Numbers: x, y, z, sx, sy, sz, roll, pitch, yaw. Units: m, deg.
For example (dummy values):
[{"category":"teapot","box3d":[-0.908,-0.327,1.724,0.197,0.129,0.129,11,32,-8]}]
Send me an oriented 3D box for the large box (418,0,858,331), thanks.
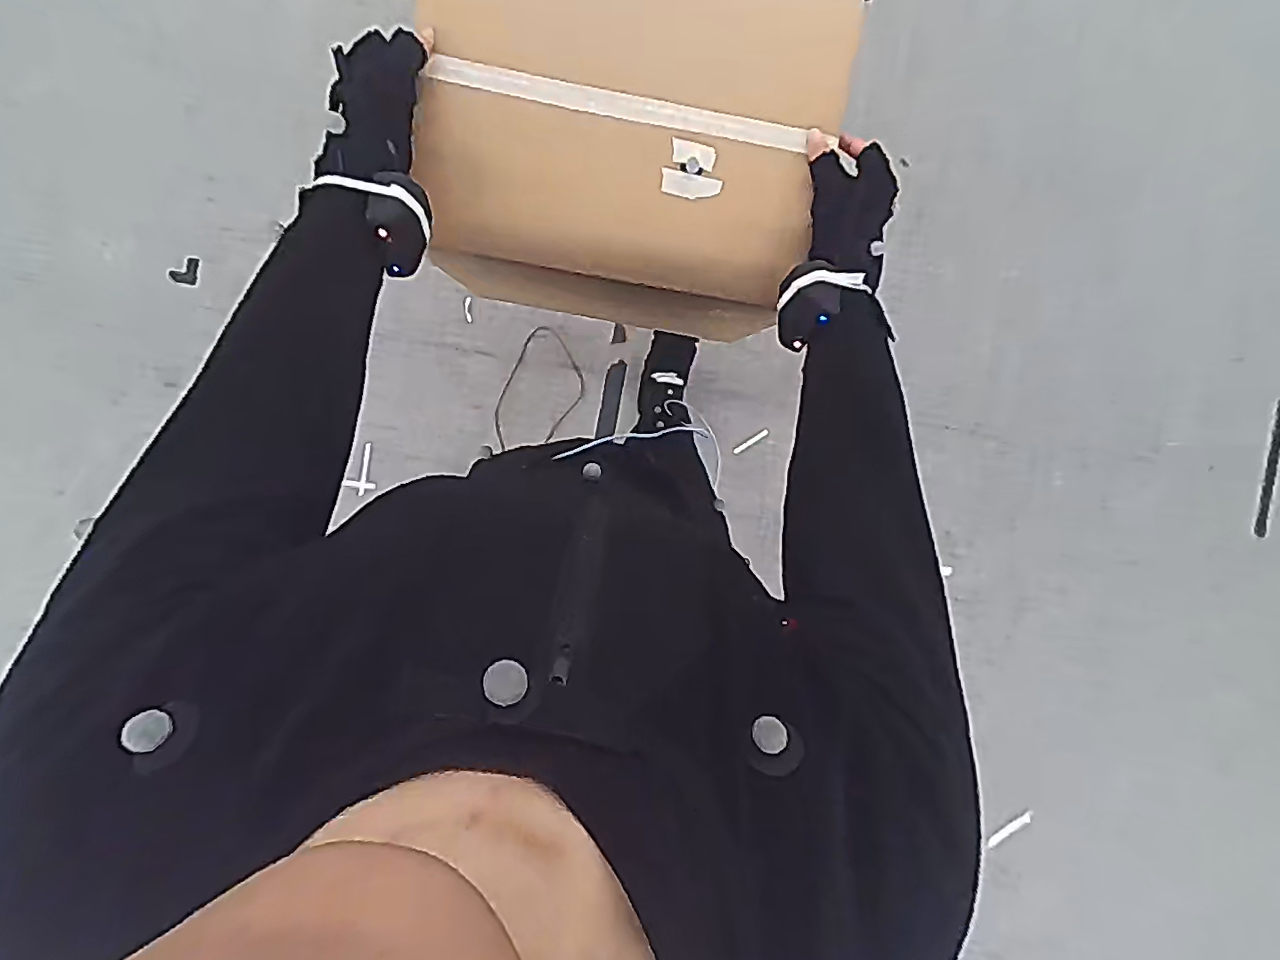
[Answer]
[{"category":"large box","box3d":[-0.015,-0.386,0.672,0.408,0.320,0.320,8,99,-5]}]
